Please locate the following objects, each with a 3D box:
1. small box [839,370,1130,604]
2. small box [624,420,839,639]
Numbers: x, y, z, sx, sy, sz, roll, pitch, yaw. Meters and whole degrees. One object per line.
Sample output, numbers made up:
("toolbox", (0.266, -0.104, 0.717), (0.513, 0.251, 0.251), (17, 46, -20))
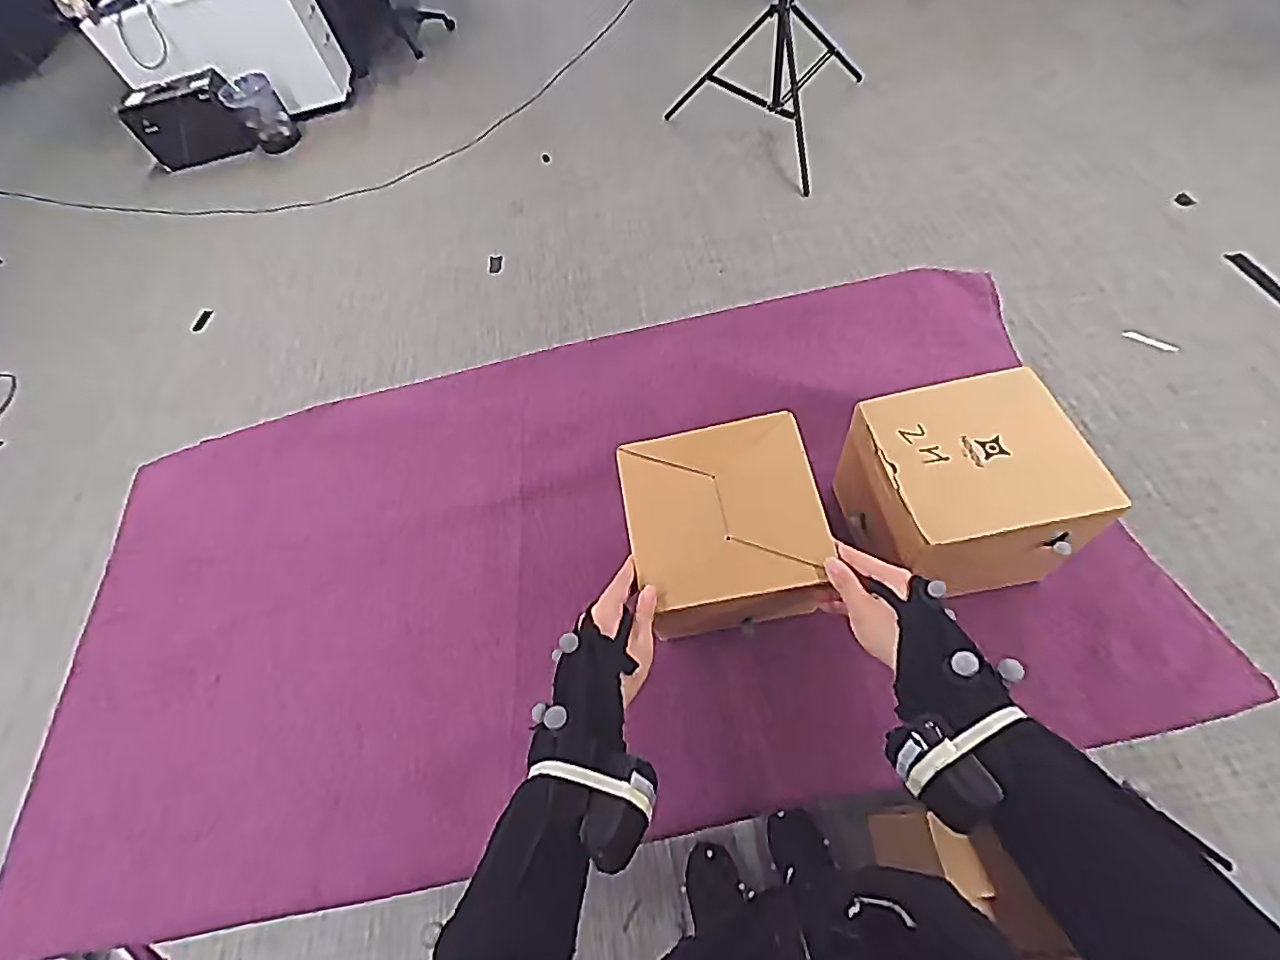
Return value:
("small box", (0.331, 0.015, 0.568), (0.179, 0.176, 0.168), (-11, 56, 3))
("small box", (0.087, 0.057, 0.567), (0.179, 0.176, 0.168), (-12, 64, 4))
